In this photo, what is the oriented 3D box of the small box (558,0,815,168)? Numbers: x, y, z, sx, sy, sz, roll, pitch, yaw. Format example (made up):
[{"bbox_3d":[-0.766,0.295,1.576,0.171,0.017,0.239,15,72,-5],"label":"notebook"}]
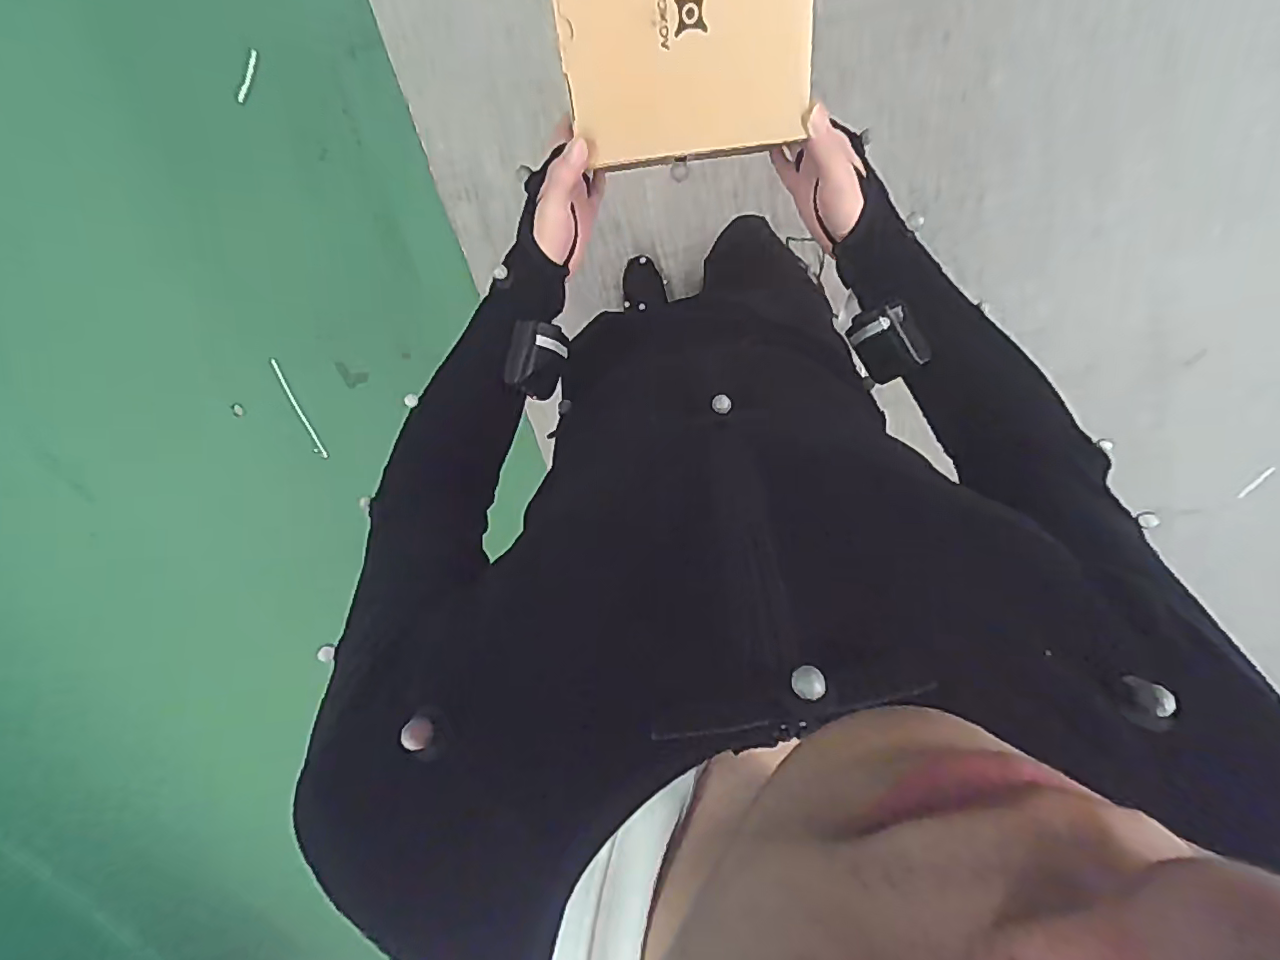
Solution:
[{"bbox_3d":[0.036,-0.359,0.438,0.179,0.176,0.168,-4,120,7],"label":"small box"}]
